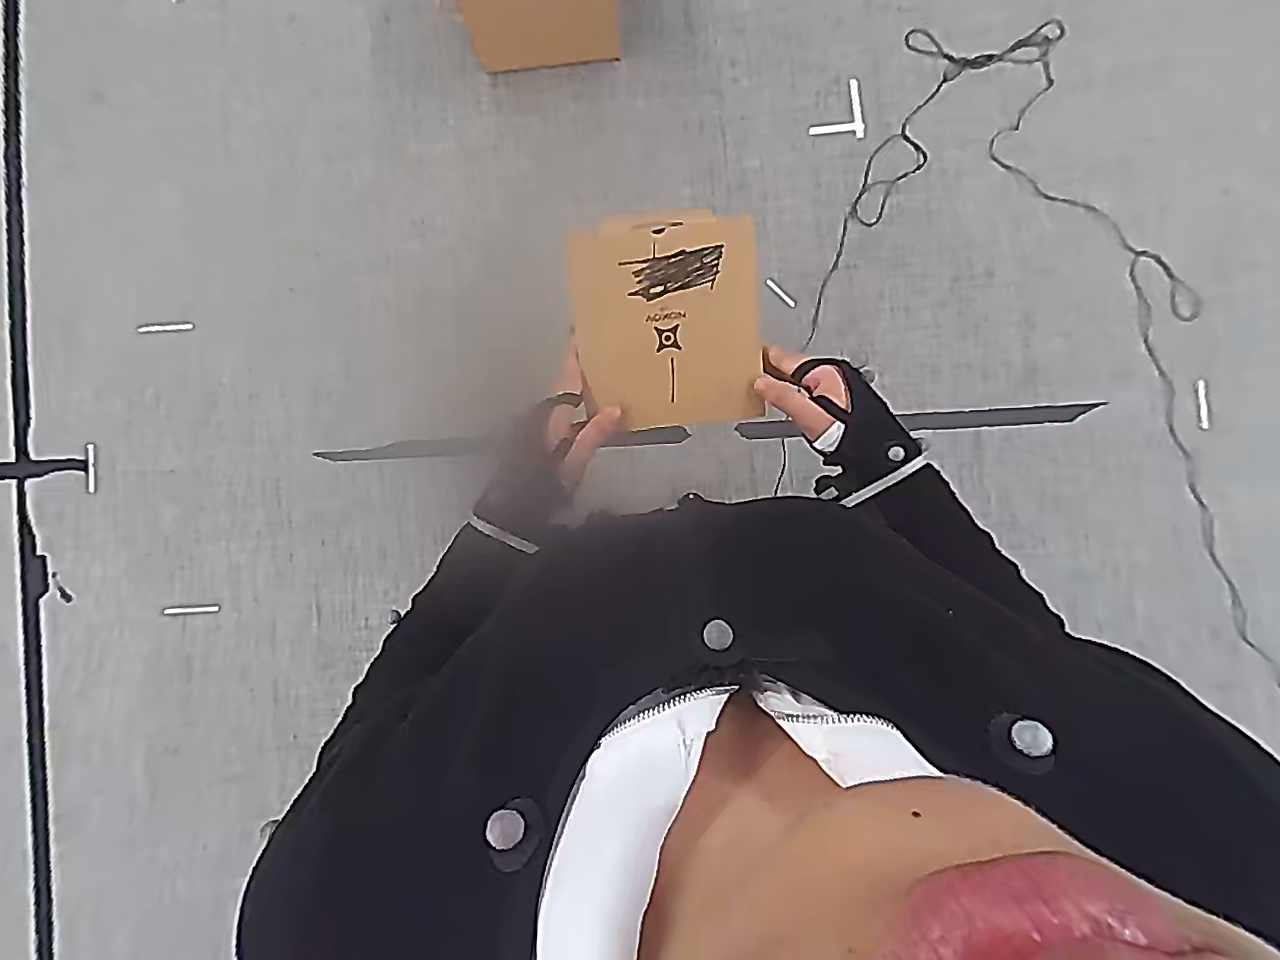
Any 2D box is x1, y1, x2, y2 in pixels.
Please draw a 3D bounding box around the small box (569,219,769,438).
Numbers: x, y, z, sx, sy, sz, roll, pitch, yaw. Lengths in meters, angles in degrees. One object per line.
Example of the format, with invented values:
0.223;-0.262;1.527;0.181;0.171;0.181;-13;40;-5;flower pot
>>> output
0.023;-0.142;0.552;0.168;0.176;0.179;-7;100;-1;small box
